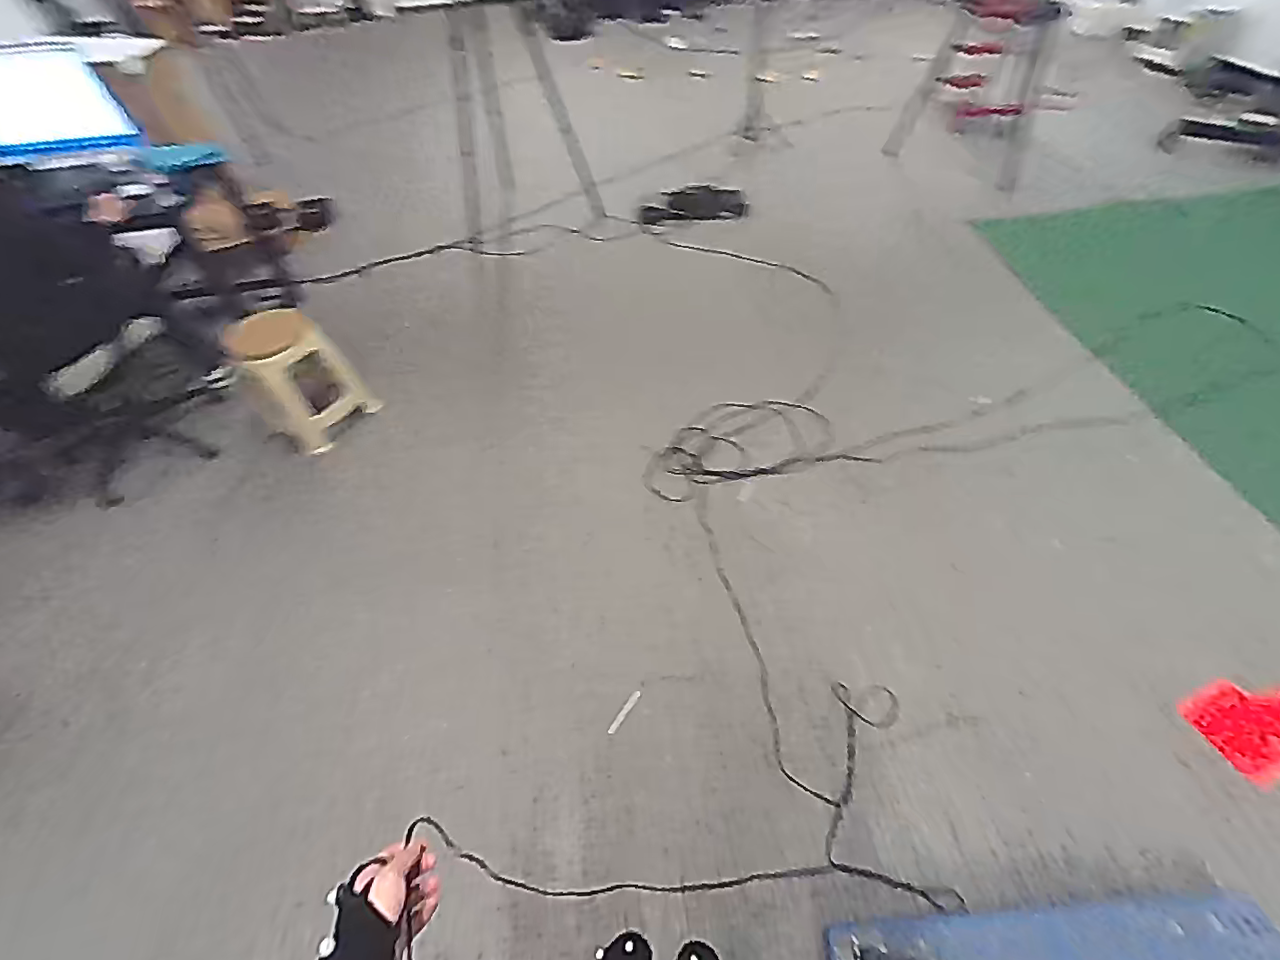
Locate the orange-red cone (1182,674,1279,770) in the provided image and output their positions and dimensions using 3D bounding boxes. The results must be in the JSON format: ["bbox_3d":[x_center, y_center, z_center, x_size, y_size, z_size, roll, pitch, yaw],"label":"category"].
[{"bbox_3d":[1.566,0.524,1.291,0.198,0.360,0.199,-20,52,-12],"label":"orange-red cone"}]
